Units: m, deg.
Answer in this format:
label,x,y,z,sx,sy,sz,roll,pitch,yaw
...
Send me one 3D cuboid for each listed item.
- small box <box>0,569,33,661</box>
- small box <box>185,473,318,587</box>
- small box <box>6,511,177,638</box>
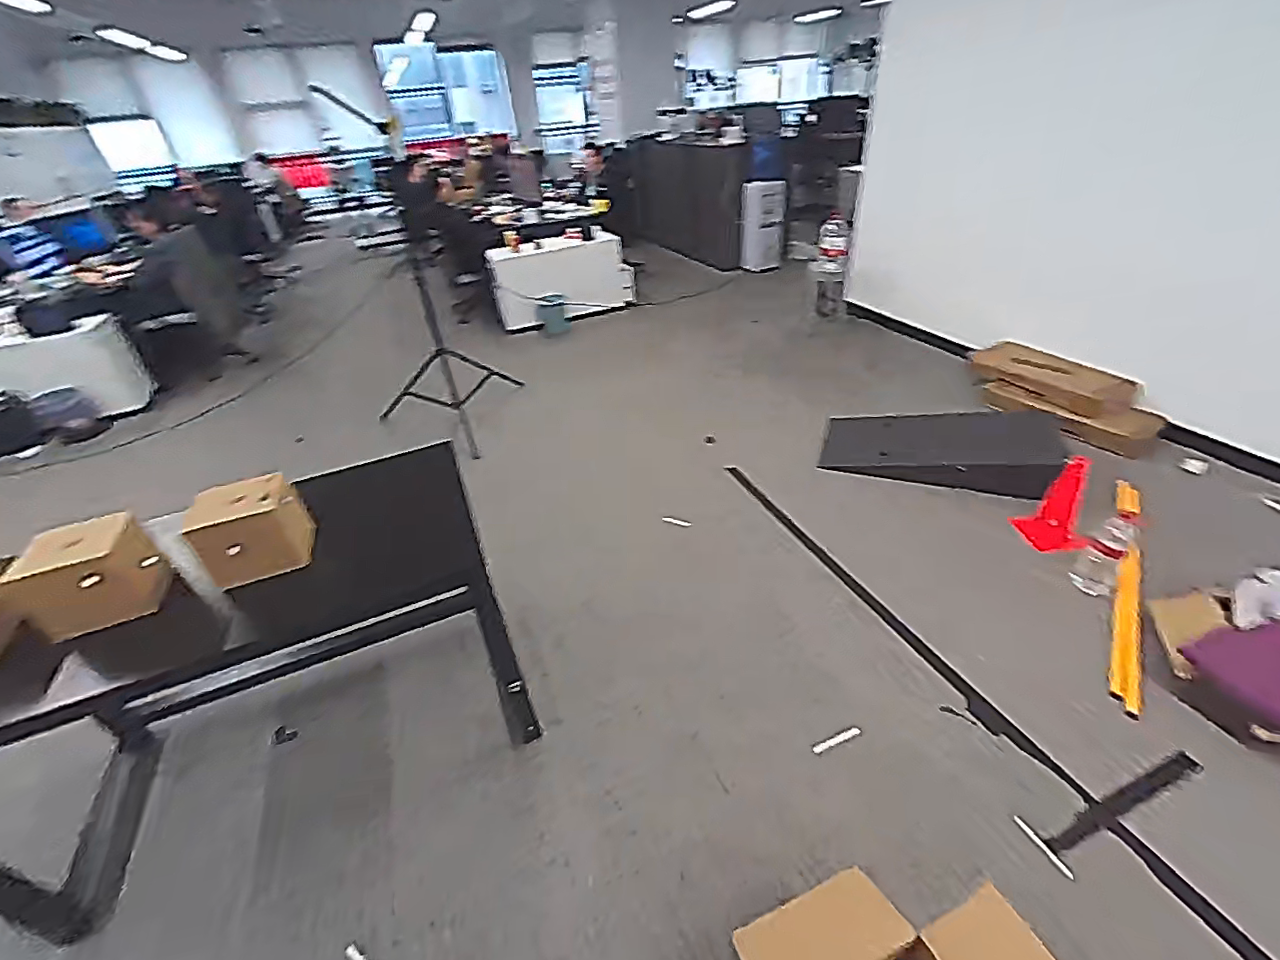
label,x,y,z,sx,sy,sz,roll,pitch,yaw
small box,-1.380,0.277,1.067,0.168,0.176,0.179,-19,38,-18
small box,-0.868,0.115,1.227,0.179,0.176,0.168,-17,37,-15
small box,-1.136,0.198,1.143,0.179,0.176,0.168,-17,36,-17
